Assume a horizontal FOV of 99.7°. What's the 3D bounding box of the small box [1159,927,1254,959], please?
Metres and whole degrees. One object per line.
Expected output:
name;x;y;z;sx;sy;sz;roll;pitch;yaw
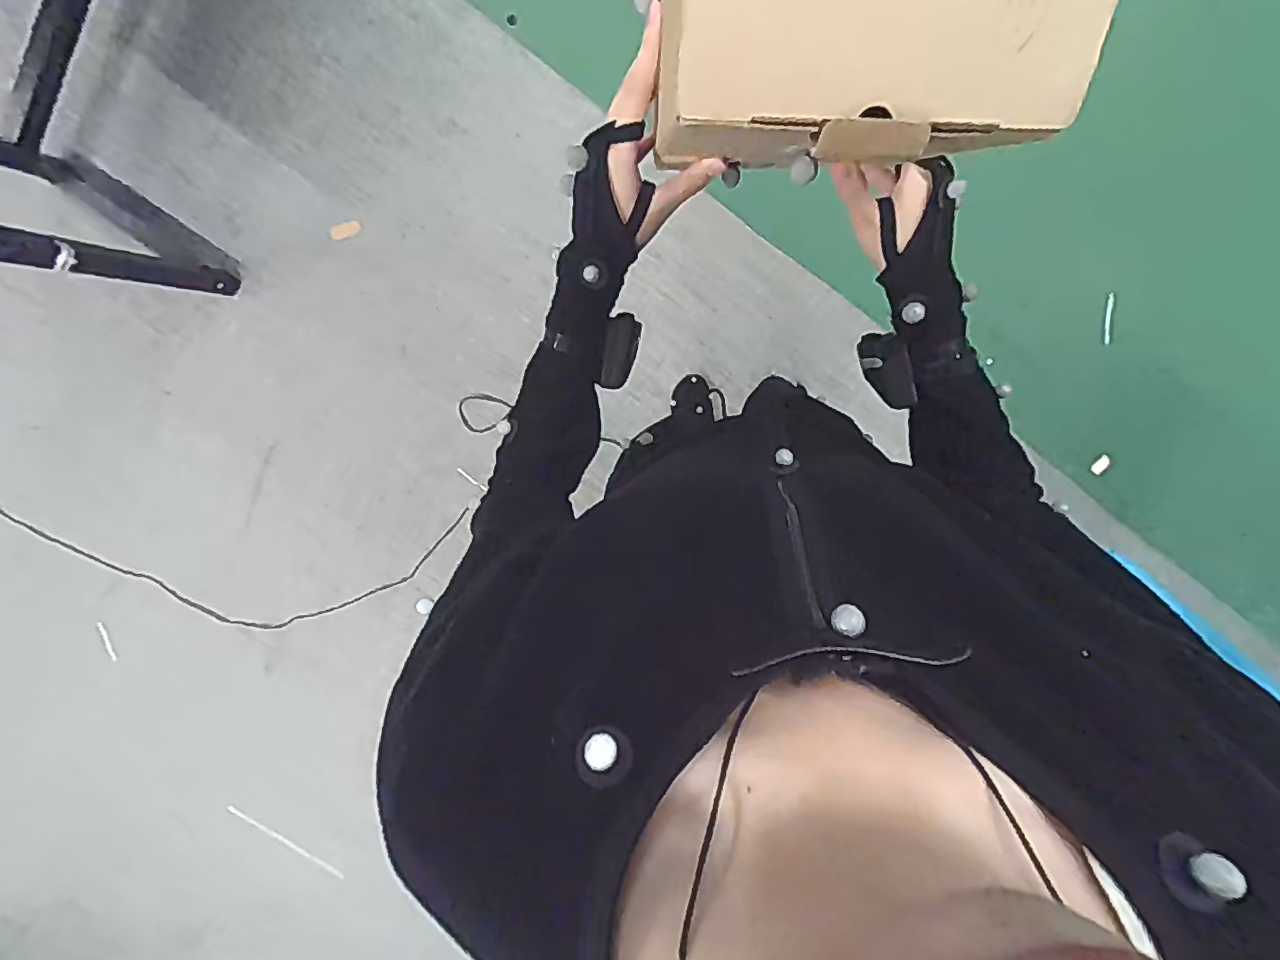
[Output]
small box;0.651;0.635;0.562;0.168;0.176;0.179;38;100;-4

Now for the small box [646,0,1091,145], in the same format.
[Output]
small box;0.089;-0.264;0.249;0.168;0.176;0.179;1;117;-2
